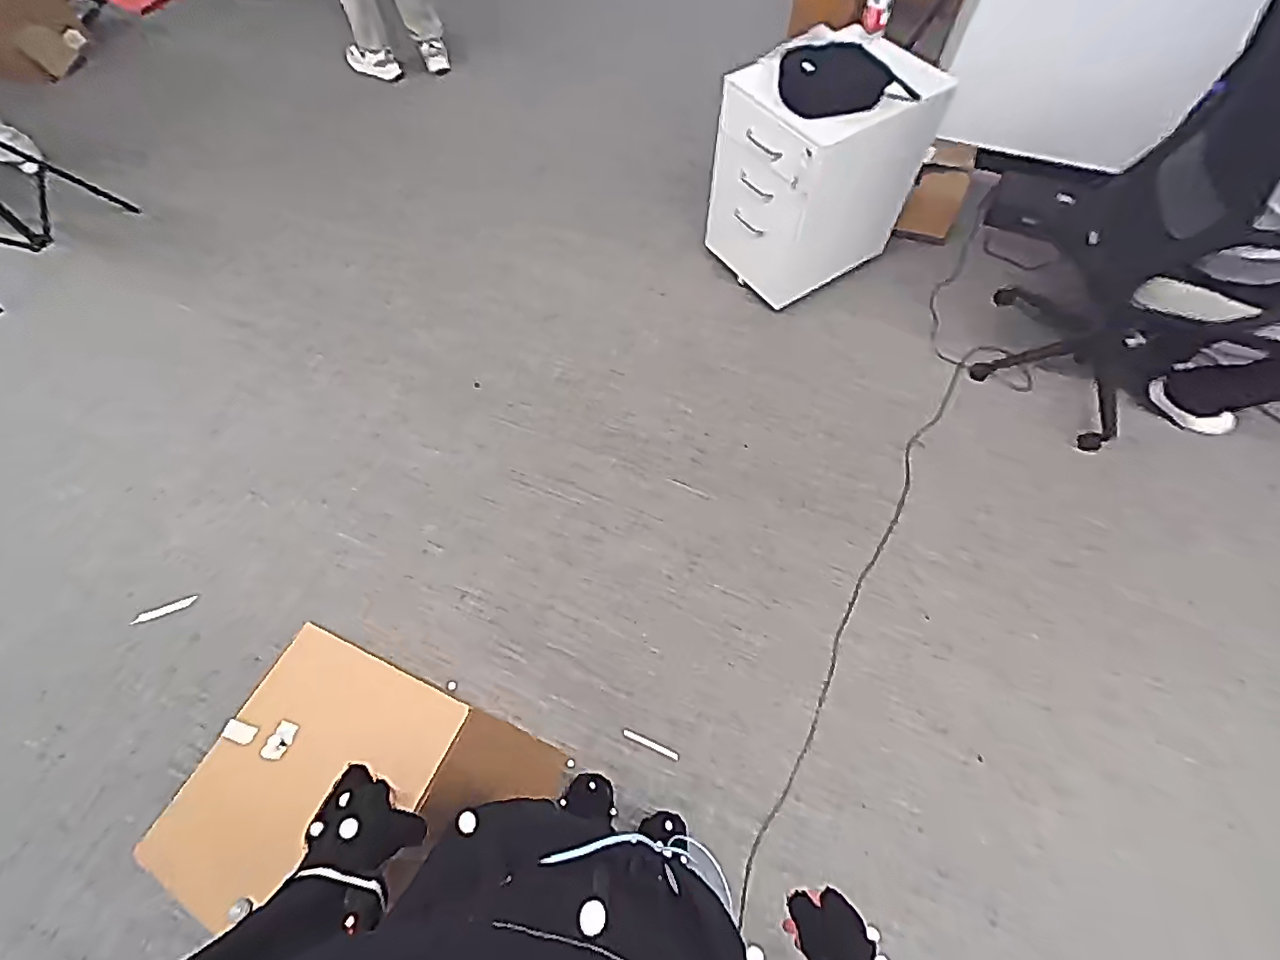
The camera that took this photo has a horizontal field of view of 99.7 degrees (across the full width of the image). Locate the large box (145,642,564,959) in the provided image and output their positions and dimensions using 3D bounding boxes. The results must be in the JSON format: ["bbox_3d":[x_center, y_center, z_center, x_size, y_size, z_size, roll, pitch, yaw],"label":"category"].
[{"bbox_3d":[-0.370,0.488,0.816,0.320,0.408,0.320,17,62,22],"label":"large box"}]
